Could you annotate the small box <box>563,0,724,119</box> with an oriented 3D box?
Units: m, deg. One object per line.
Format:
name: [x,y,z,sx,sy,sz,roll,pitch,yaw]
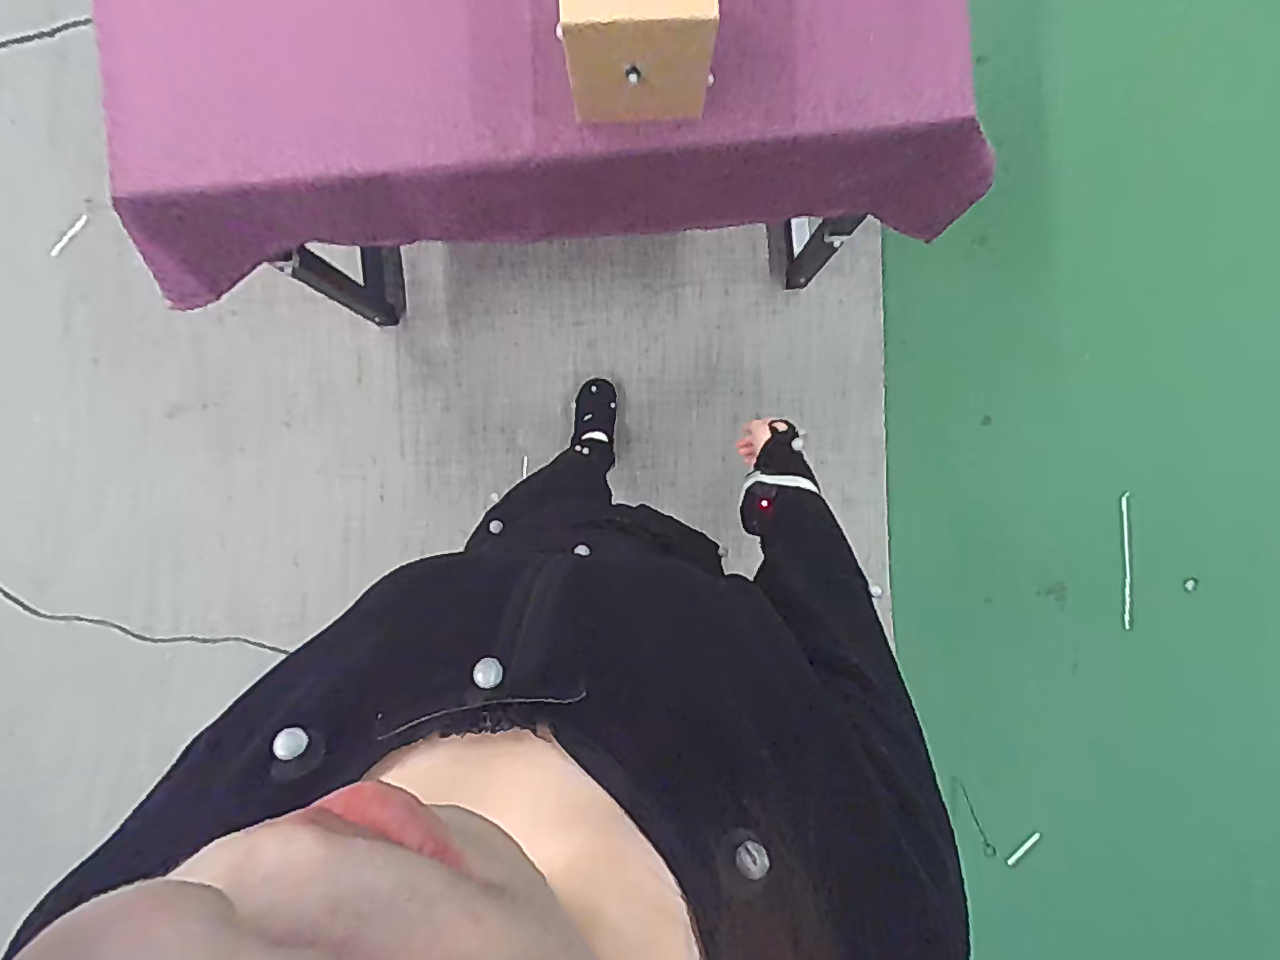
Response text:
small box: [0.002,-0.578,0.663,0.179,0.176,0.168,-2,91,1]
